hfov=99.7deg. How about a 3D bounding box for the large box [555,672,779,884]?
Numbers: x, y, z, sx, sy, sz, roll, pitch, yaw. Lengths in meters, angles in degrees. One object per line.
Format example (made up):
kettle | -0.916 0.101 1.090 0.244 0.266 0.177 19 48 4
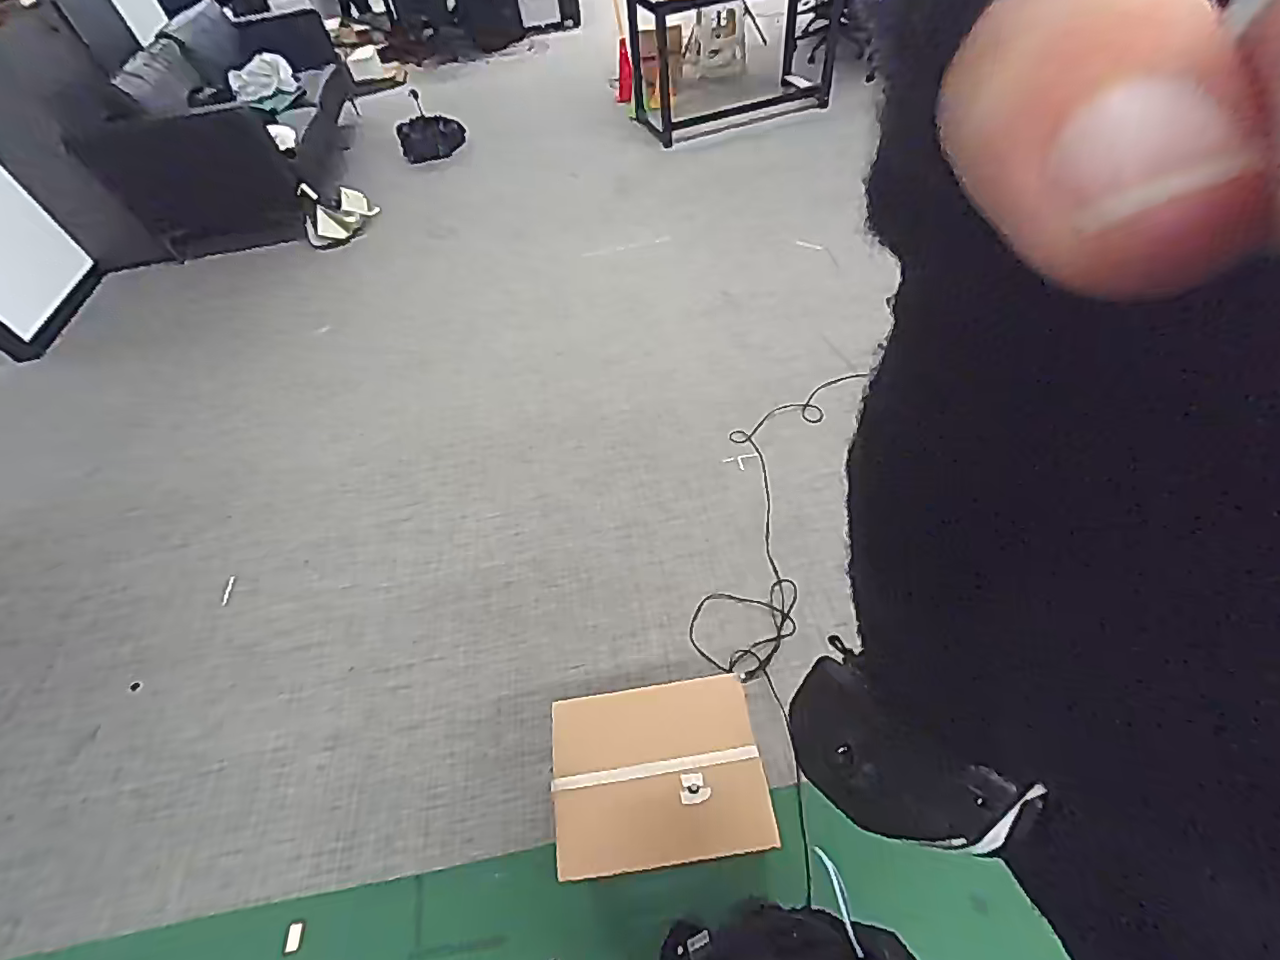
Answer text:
large box | 0.048 0.652 1.173 0.408 0.320 0.320 -9 53 -1
